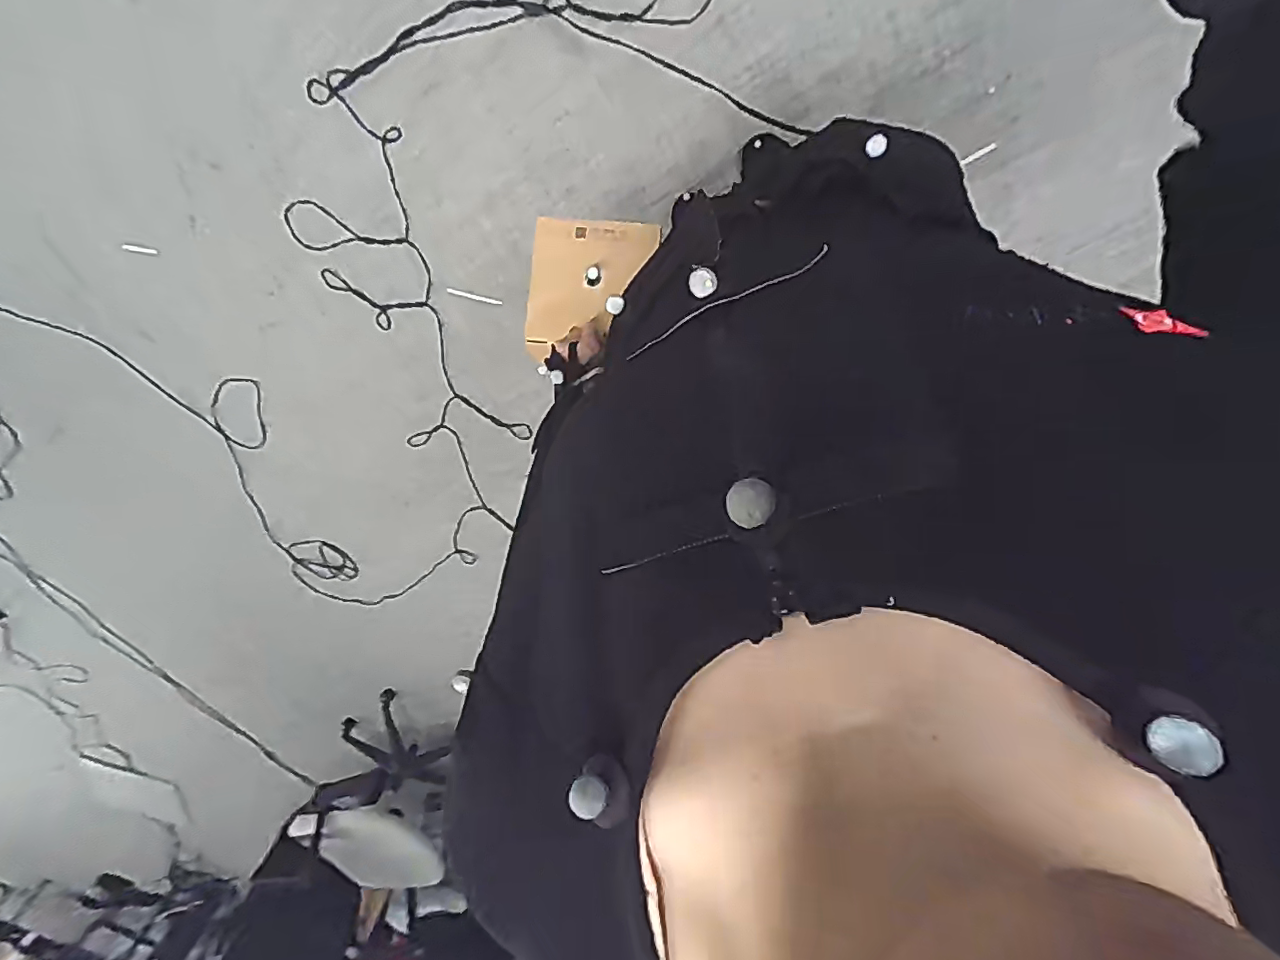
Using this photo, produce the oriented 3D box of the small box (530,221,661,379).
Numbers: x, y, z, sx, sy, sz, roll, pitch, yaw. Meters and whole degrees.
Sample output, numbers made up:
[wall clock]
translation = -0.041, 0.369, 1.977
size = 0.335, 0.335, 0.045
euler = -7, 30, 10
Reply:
[small box]
translation = -0.058, -0.253, 0.783
size = 0.168, 0.179, 0.176
euler = 4, 87, 1
